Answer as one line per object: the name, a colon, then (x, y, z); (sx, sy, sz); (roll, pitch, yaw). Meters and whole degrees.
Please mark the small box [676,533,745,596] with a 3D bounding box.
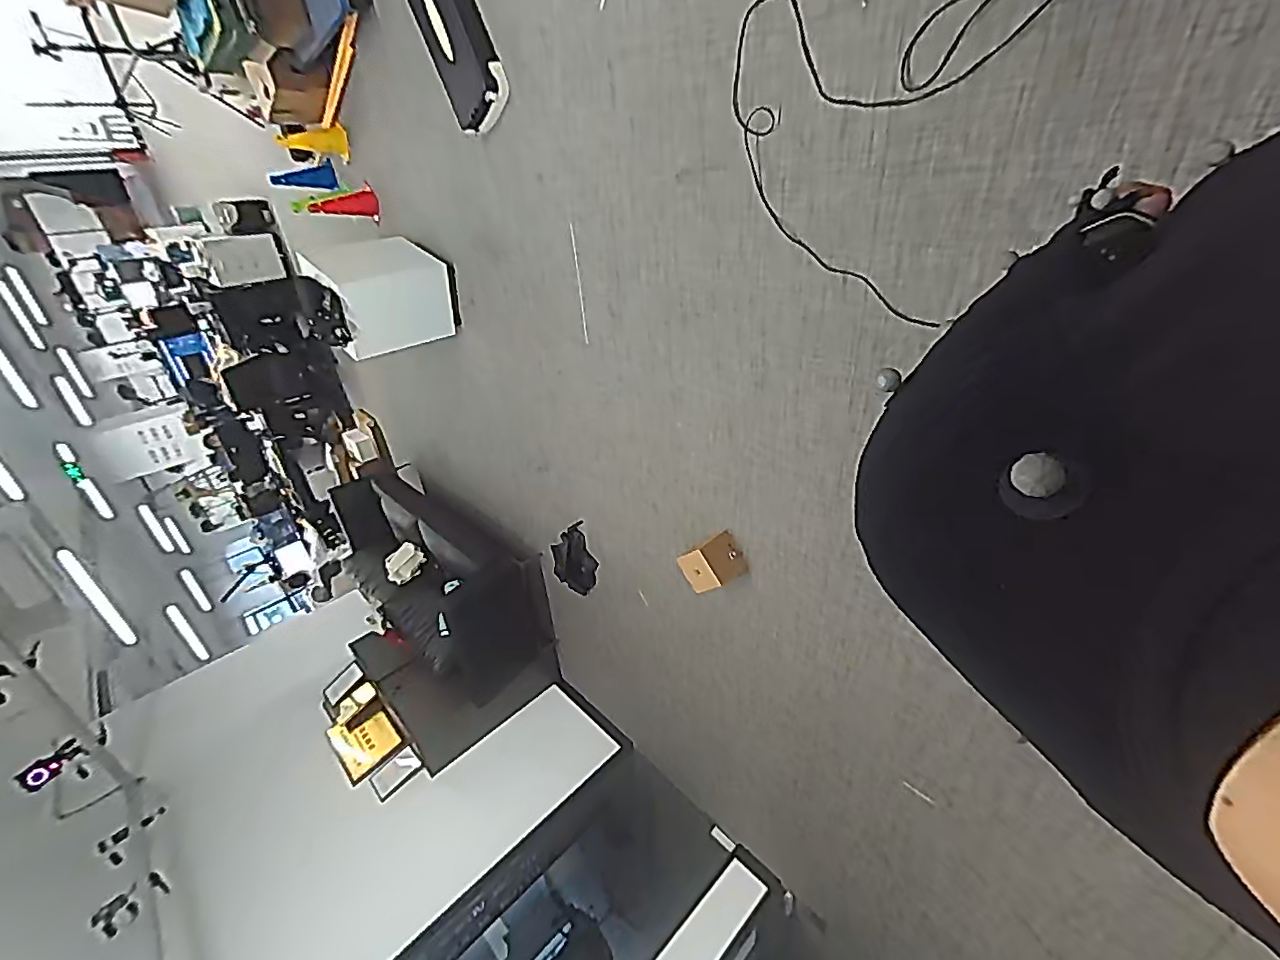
small box: (0.280, 0.333, 2.142); (0.168, 0.176, 0.179); (58, 144, 3)
